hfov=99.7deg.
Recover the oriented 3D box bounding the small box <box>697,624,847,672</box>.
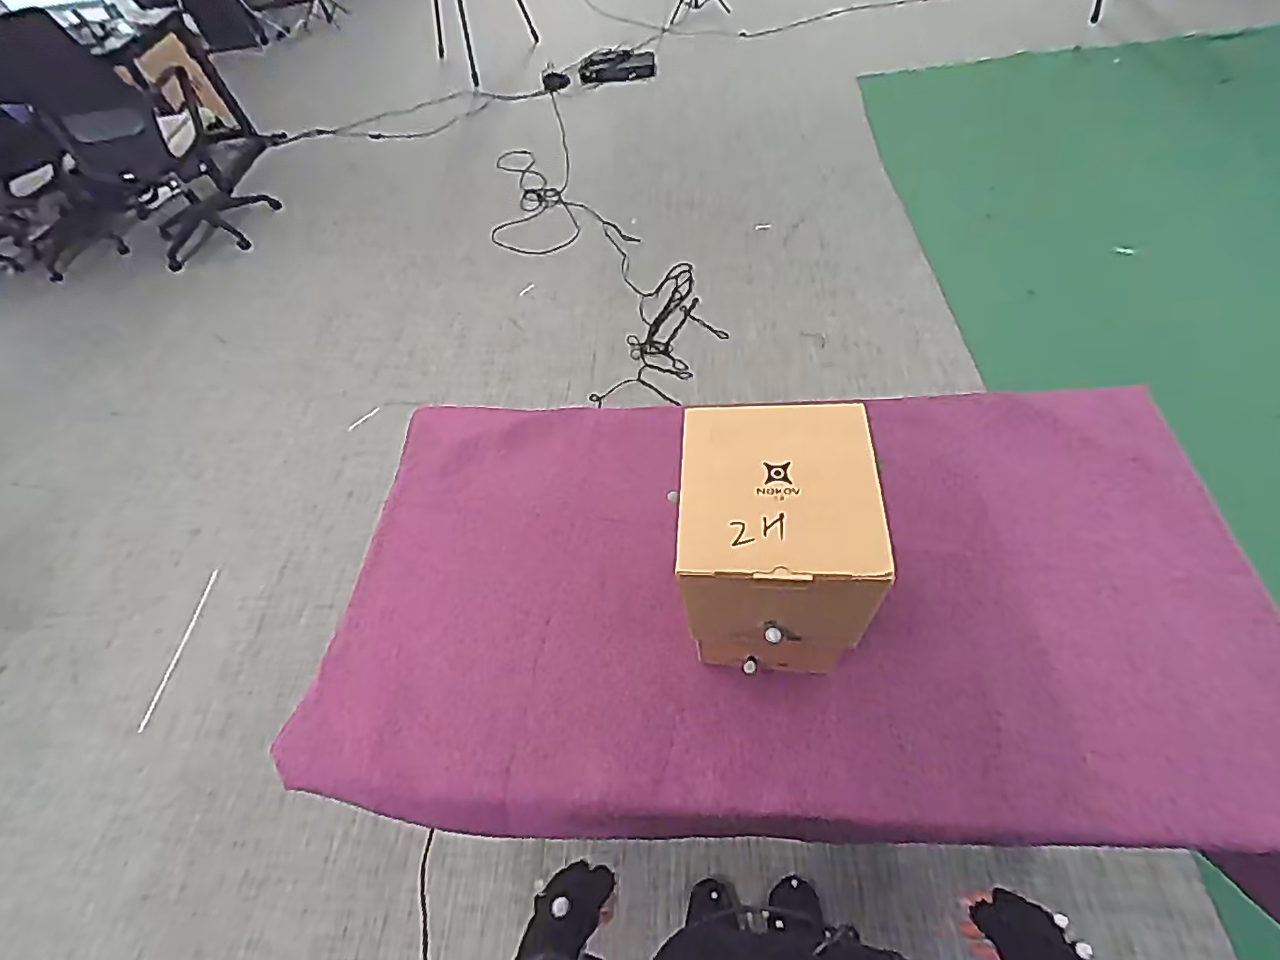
[{"bbox_3d":[0.158,0.123,0.675,0.168,0.176,0.179,2,57,11],"label":"small box"}]

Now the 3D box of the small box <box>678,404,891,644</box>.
[{"bbox_3d":[0.130,0.045,0.533,0.168,0.176,0.179,0,56,11],"label":"small box"}]
